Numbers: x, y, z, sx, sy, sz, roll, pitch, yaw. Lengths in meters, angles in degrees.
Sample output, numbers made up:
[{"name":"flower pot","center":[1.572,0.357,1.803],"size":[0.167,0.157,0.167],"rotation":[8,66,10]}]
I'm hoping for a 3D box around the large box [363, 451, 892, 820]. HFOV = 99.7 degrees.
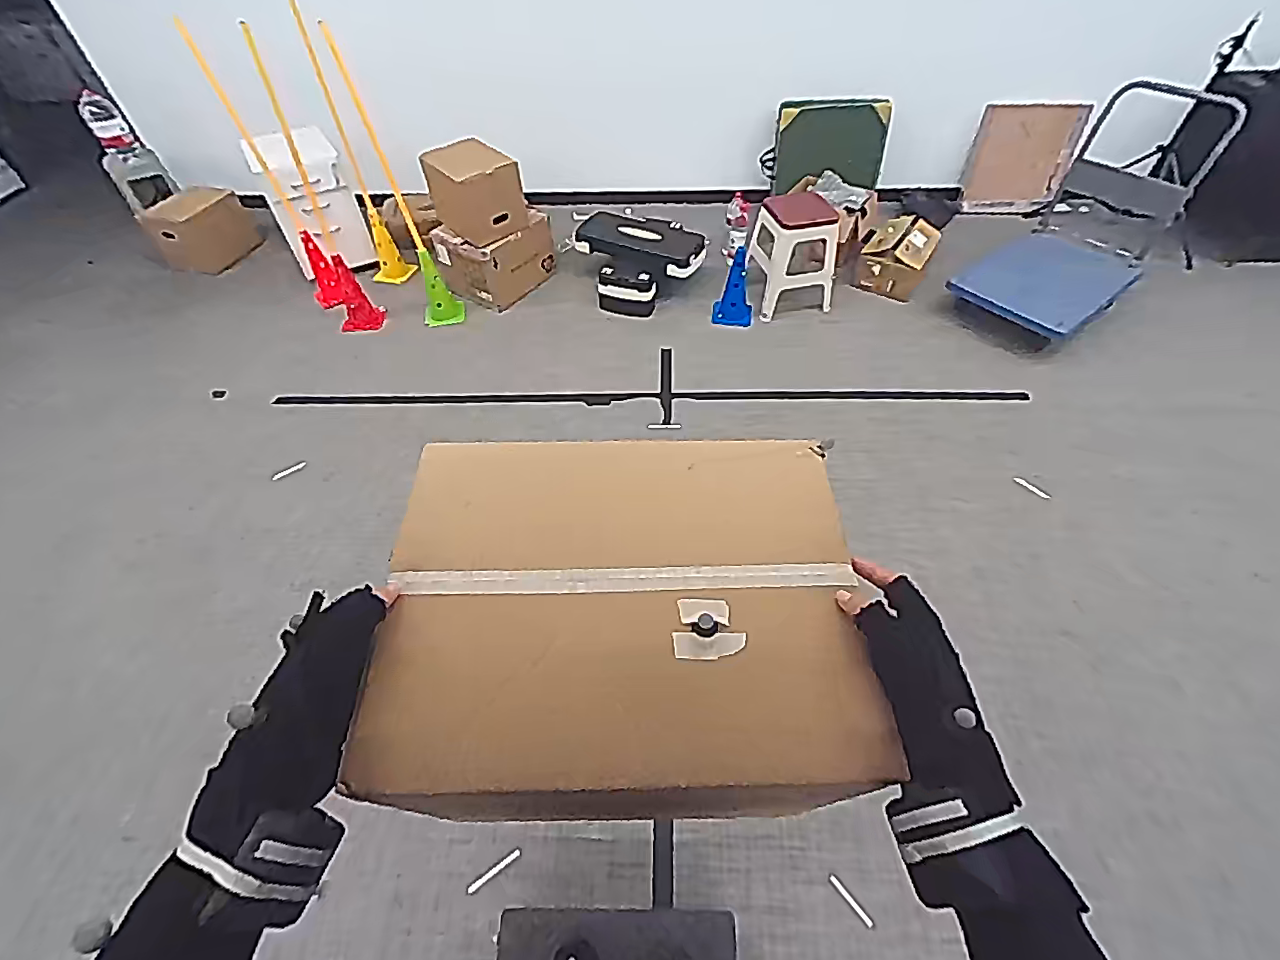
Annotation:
[{"name":"large box","center":[-0.015,0.182,0.605],"size":[0.408,0.320,0.320],"rotation":[0,55,-2]}]
